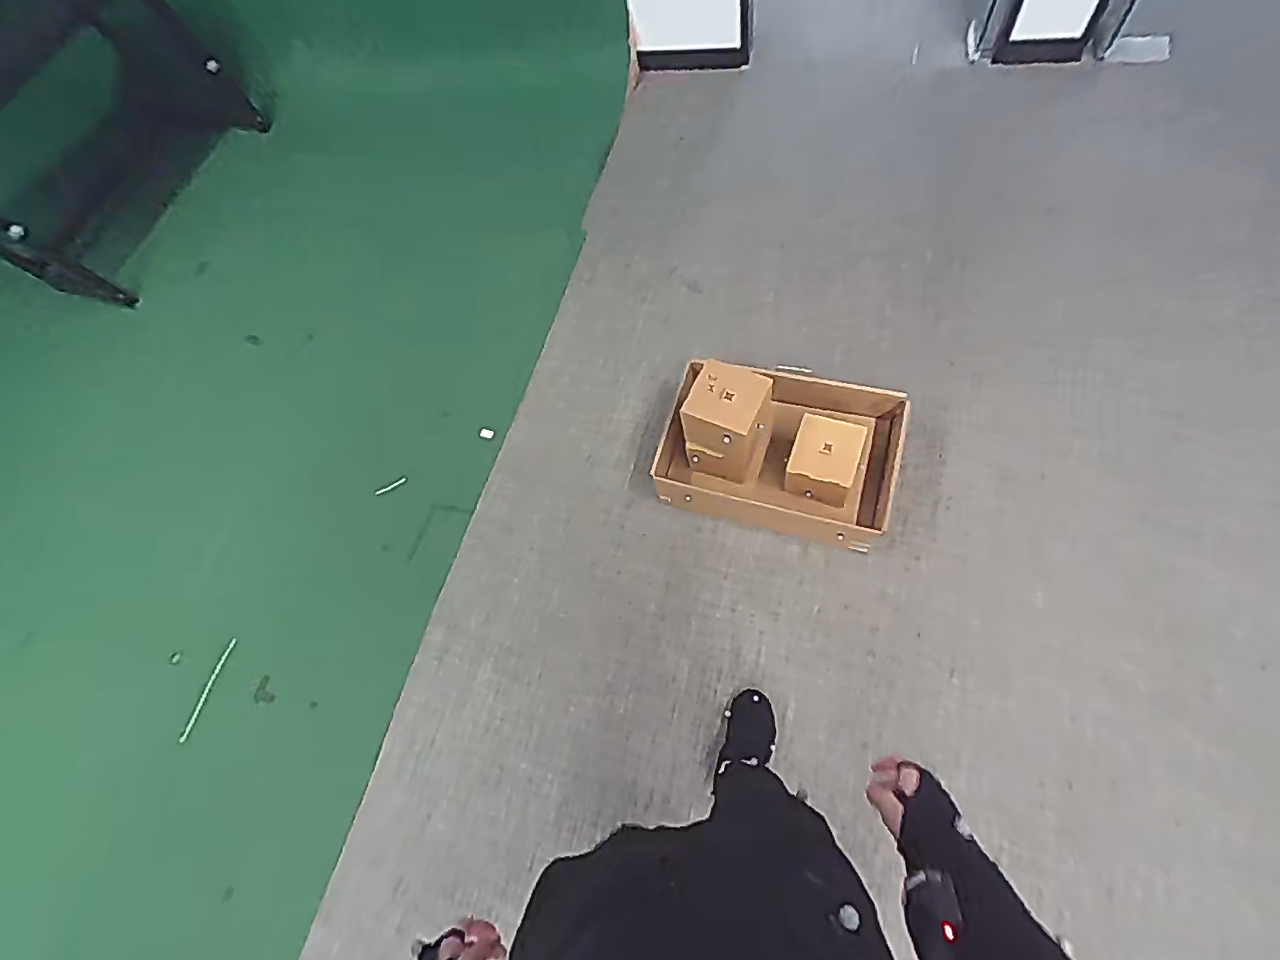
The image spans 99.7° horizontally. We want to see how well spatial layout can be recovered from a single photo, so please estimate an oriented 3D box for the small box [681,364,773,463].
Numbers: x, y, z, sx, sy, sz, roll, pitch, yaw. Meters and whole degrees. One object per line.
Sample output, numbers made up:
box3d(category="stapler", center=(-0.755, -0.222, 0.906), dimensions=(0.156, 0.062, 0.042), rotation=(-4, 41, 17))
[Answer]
box3d(category="small box", center=(0.223, -0.162, 1.380), dimensions=(0.179, 0.176, 0.168), rotation=(23, 74, 18))
